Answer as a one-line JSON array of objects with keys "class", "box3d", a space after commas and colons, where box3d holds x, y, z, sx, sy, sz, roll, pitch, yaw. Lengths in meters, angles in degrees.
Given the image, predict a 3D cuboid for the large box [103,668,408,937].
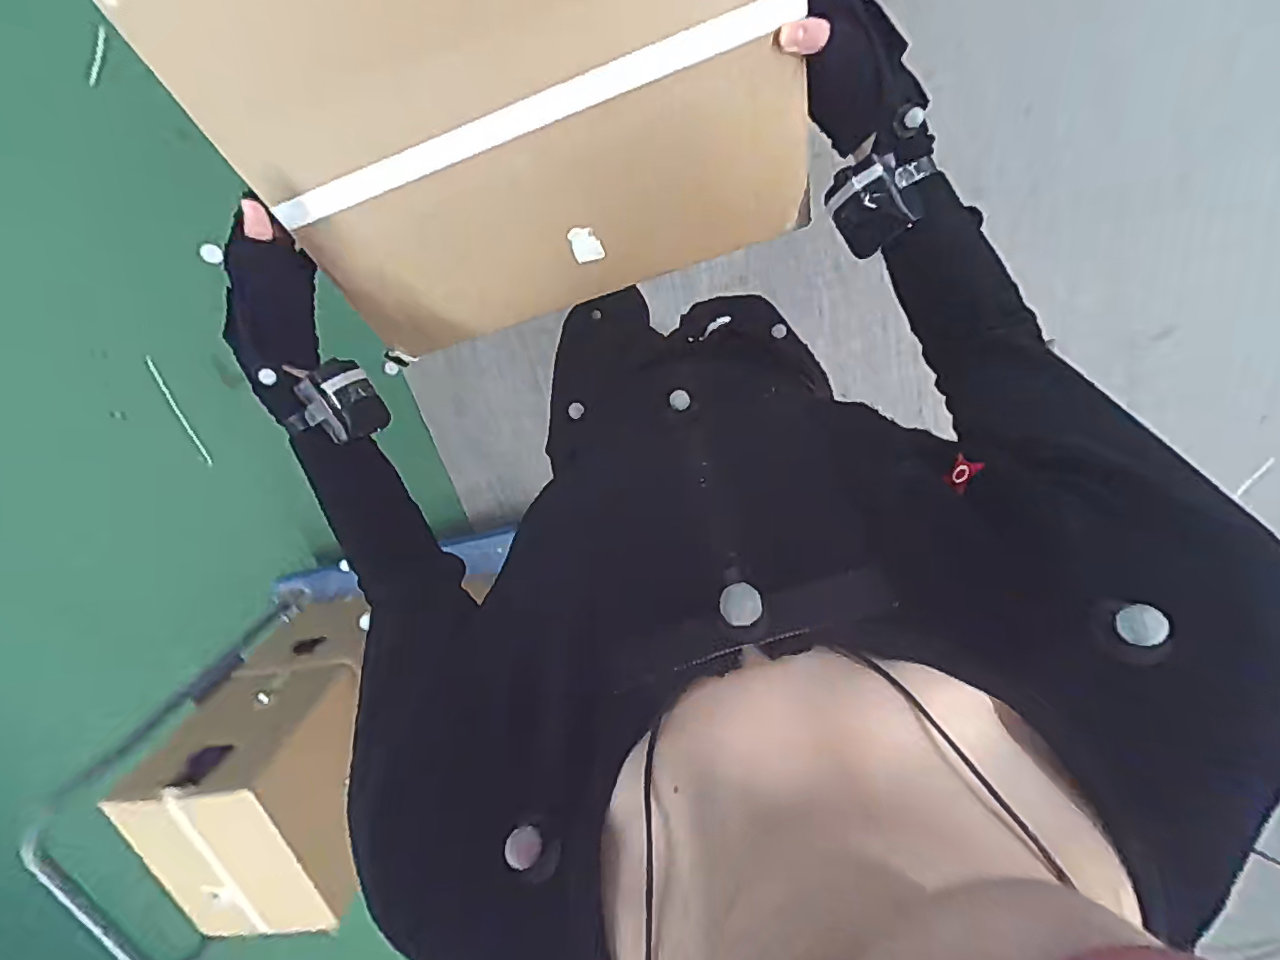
[{"class": "large box", "box3d": [-0.767, 0.677, 1.157, 0.320, 0.320, 0.408, -9, 113, 8]}]
